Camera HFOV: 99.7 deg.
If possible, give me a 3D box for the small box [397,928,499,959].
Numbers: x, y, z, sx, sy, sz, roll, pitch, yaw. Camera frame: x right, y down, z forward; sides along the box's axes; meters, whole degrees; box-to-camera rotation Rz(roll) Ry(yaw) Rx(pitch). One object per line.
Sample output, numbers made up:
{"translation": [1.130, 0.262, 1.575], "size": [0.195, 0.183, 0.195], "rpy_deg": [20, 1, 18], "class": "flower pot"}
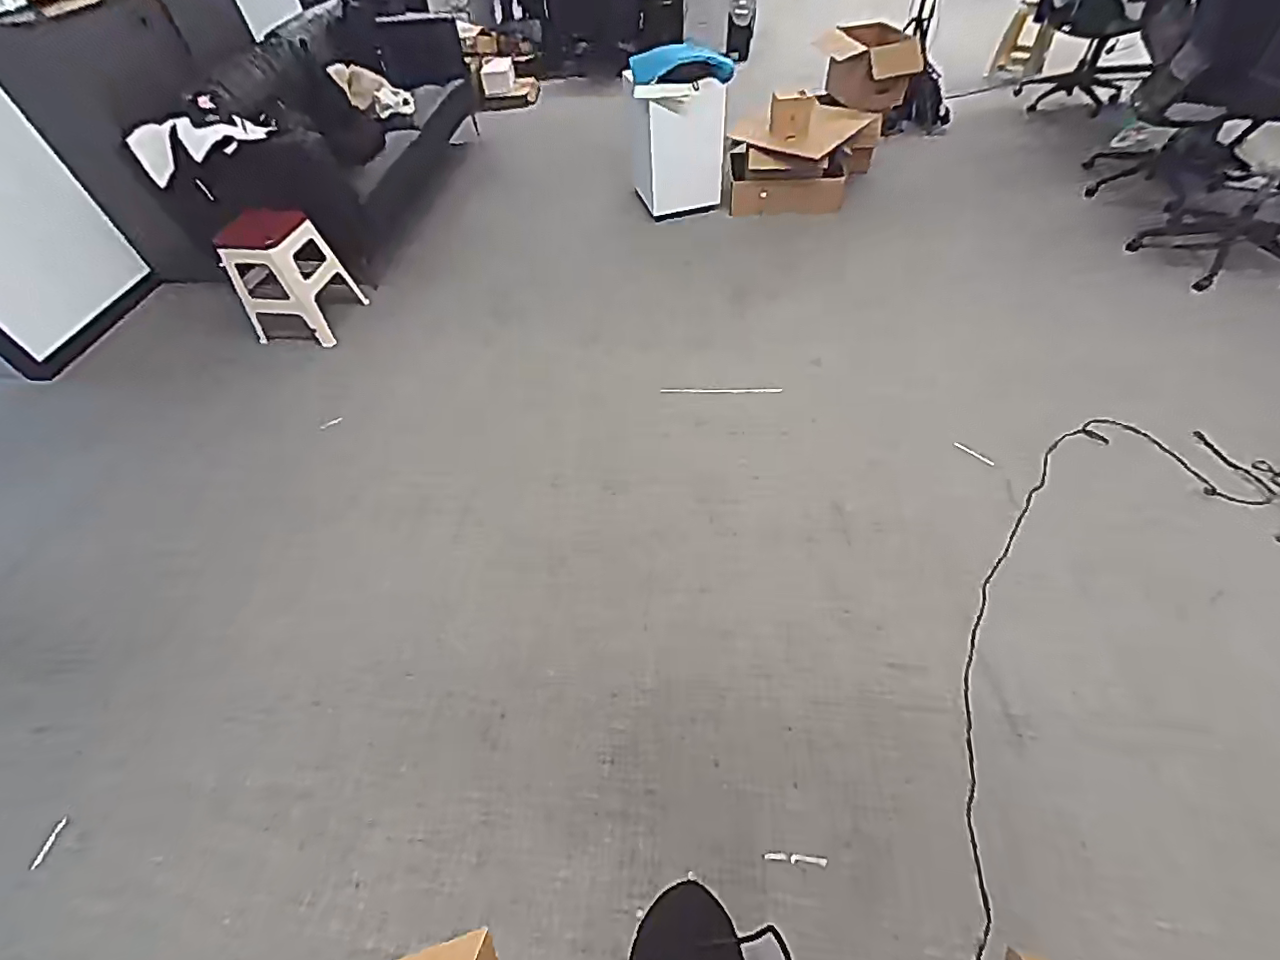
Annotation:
{"translation": [-0.249, 0.678, 0.615], "size": [0.168, 0.179, 0.176], "rpy_deg": [-17, 81, -4], "class": "small box"}
